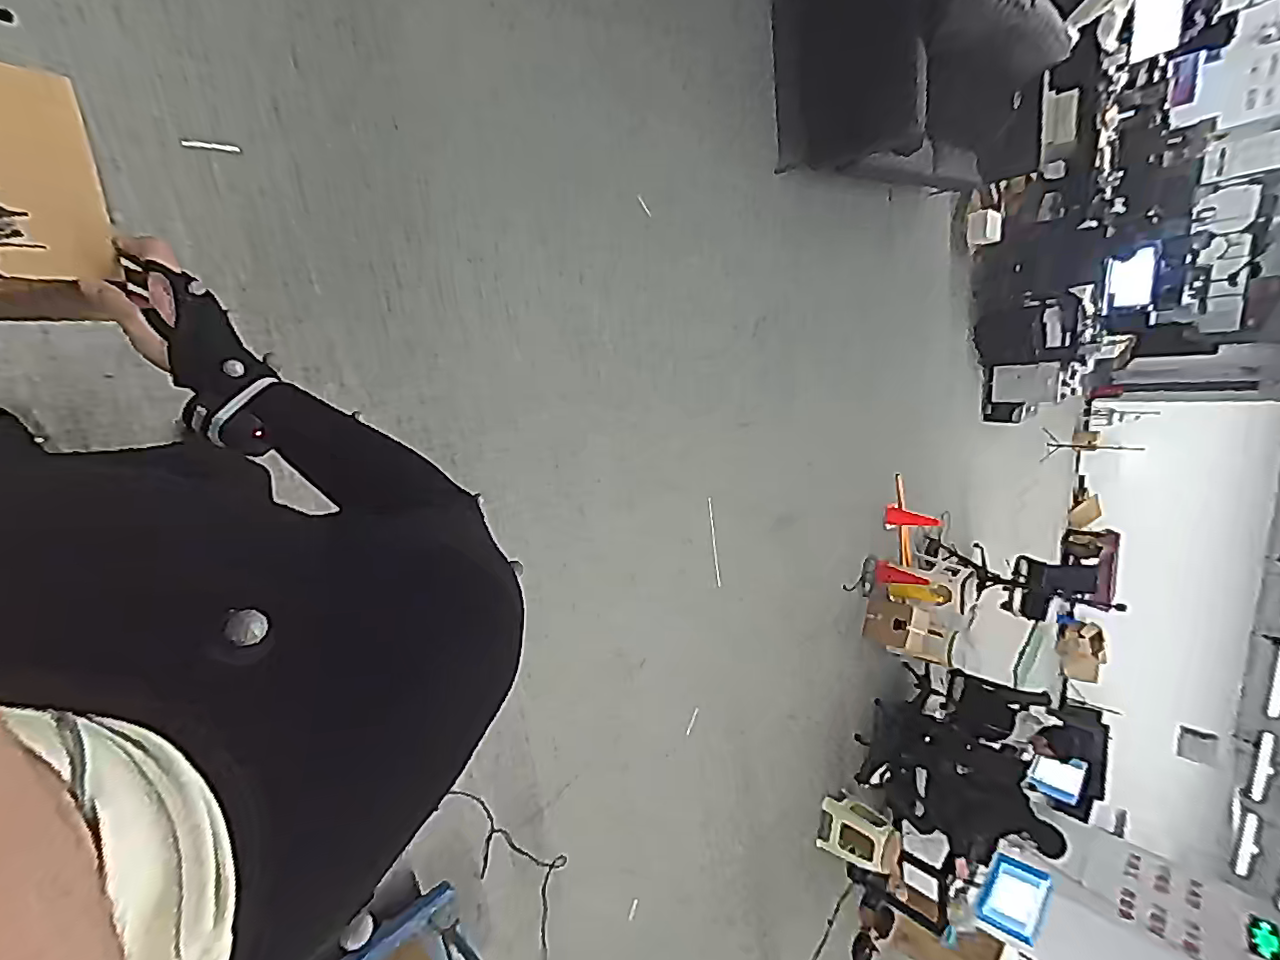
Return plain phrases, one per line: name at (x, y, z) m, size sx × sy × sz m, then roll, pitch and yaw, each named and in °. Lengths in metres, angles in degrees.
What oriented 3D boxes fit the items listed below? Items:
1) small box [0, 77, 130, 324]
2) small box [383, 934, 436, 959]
small box at (-0.598, -0.243, 0.493) m, size 0.168 × 0.176 × 0.179 m, roll -17°, pitch 102°, yaw -45°
small box at (-0.655, 1.451, 1.523) m, size 0.179 × 0.176 × 0.168 m, roll -16°, pitch 106°, yaw -41°
